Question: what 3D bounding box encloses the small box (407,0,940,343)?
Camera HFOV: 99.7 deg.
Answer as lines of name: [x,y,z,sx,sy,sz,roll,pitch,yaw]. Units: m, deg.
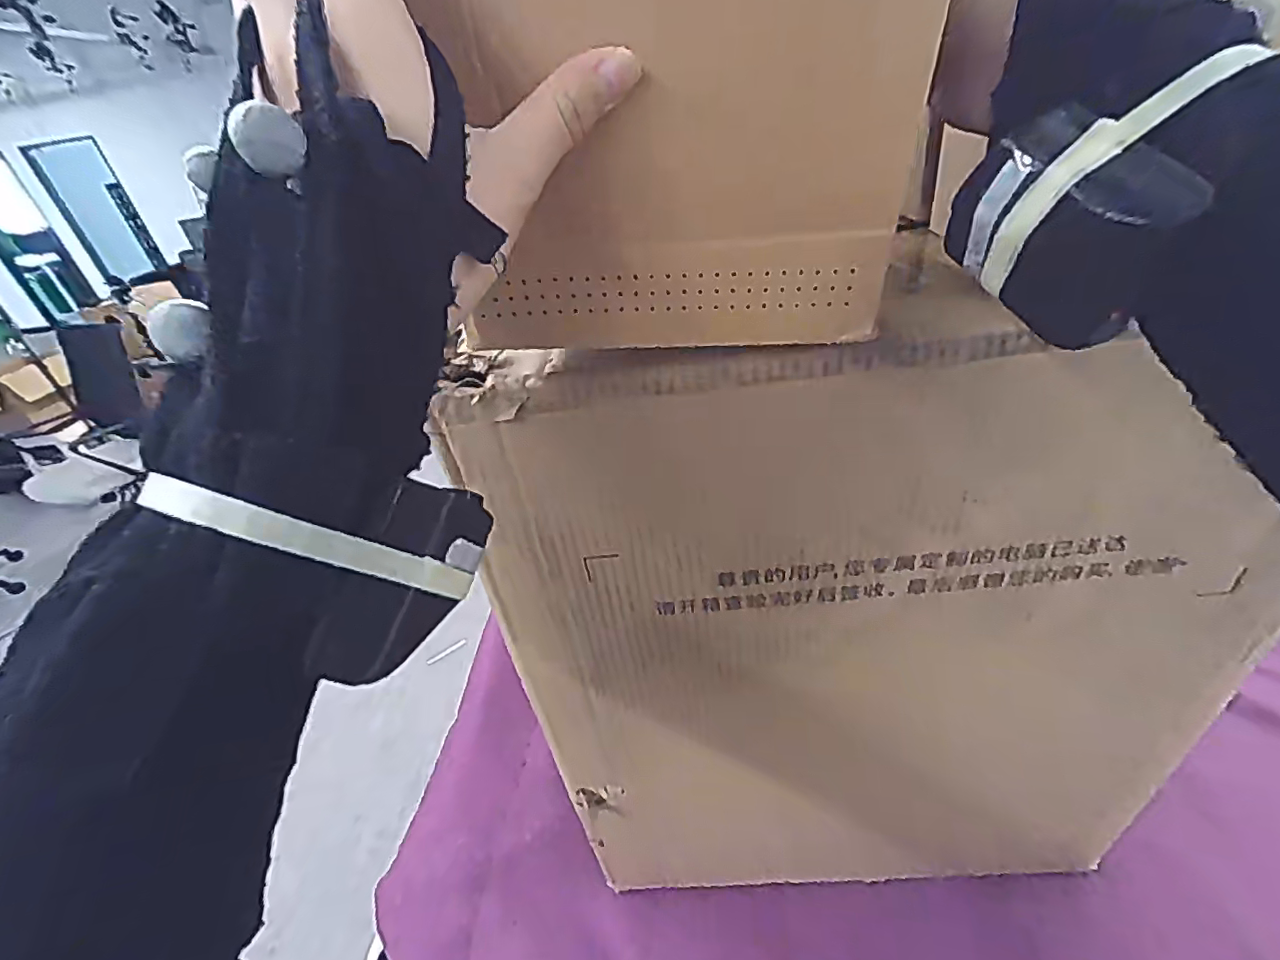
small box: [0.013,-0.170,0.239,0.179,0.176,0.168,0,40,4]
